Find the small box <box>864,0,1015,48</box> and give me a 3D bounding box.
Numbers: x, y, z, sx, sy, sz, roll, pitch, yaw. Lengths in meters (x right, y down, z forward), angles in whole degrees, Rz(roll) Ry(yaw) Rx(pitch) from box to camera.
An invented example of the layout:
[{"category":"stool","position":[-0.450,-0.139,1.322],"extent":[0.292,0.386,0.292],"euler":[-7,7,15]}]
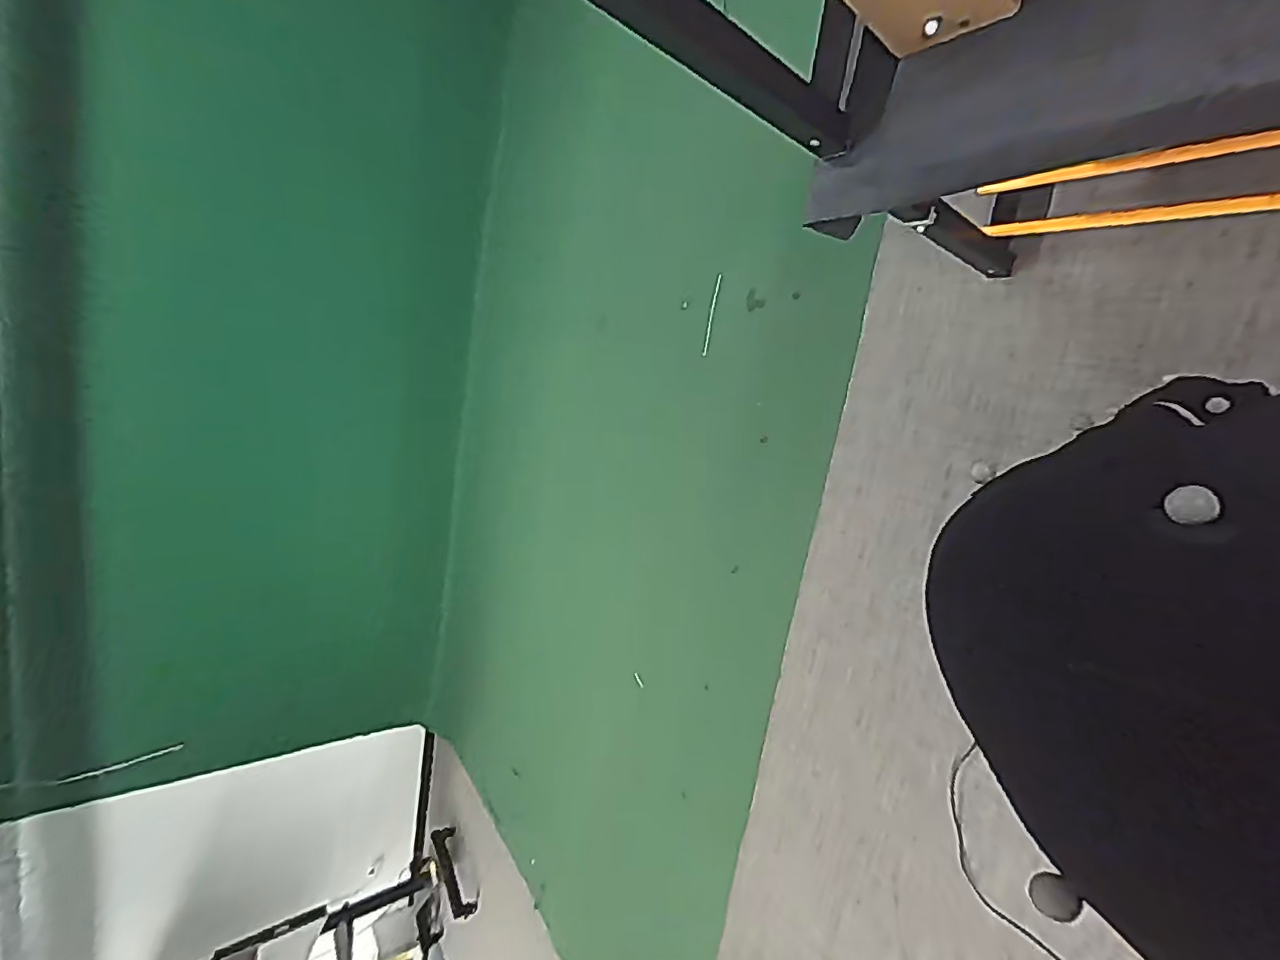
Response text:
[{"category":"small box","position":[0.394,-0.722,0.700],"extent":[0.168,0.176,0.179],"euler":[20,105,50]}]
